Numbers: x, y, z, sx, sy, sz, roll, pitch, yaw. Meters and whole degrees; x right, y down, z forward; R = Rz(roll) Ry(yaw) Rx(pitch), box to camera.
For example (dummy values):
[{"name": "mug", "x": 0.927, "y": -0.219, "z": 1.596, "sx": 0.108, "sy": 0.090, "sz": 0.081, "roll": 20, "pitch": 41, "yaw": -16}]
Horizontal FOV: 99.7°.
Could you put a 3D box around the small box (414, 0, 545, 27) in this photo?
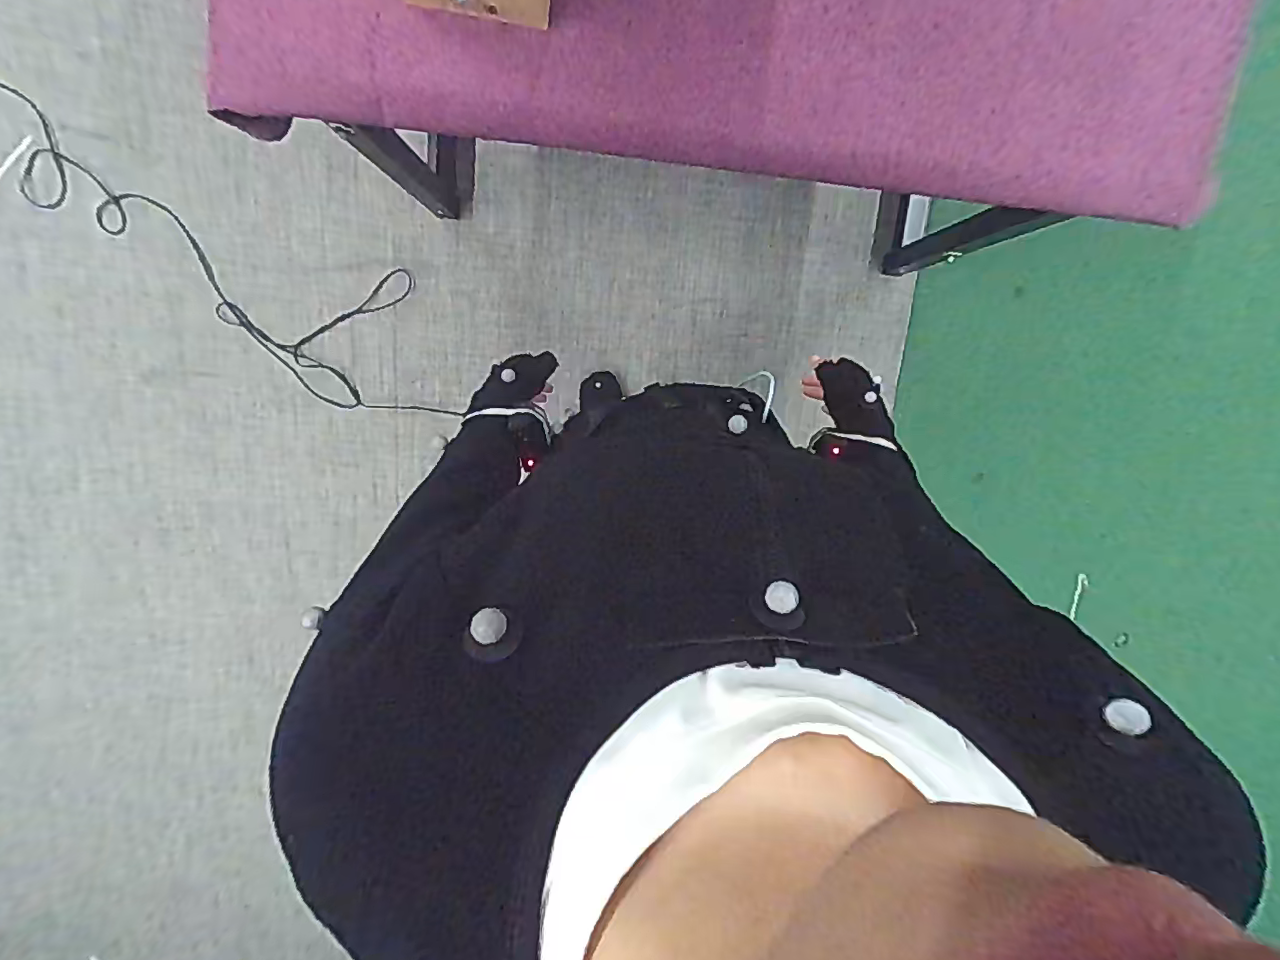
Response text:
[{"name": "small box", "x": -0.175, "y": -0.605, "z": 0.528, "sx": 0.168, "sy": 0.176, "sz": 0.179, "roll": 9, "pitch": 101, "yaw": -5}]
